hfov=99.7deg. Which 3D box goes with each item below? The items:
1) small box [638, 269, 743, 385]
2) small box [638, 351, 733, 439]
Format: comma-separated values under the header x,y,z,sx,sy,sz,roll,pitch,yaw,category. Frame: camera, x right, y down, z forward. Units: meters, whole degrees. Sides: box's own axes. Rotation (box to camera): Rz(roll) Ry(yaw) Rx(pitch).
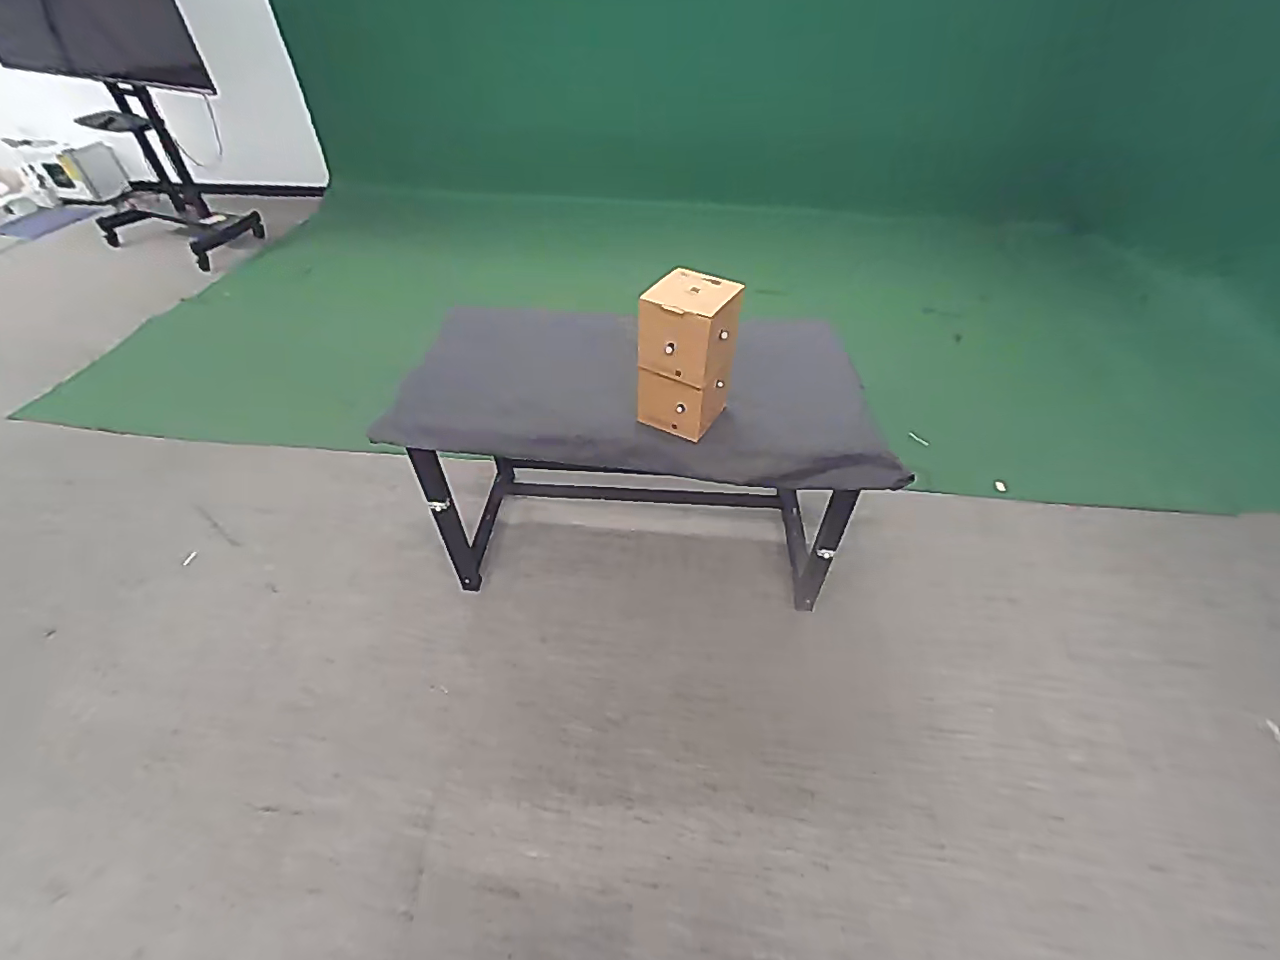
x,y,z,sx,sy,sz,roll,pitch,yaw,category
0.110,-0.334,1.186,0.168,0.176,0.179,24,50,20,small box
0.108,-0.226,1.310,0.168,0.176,0.179,23,48,20,small box
